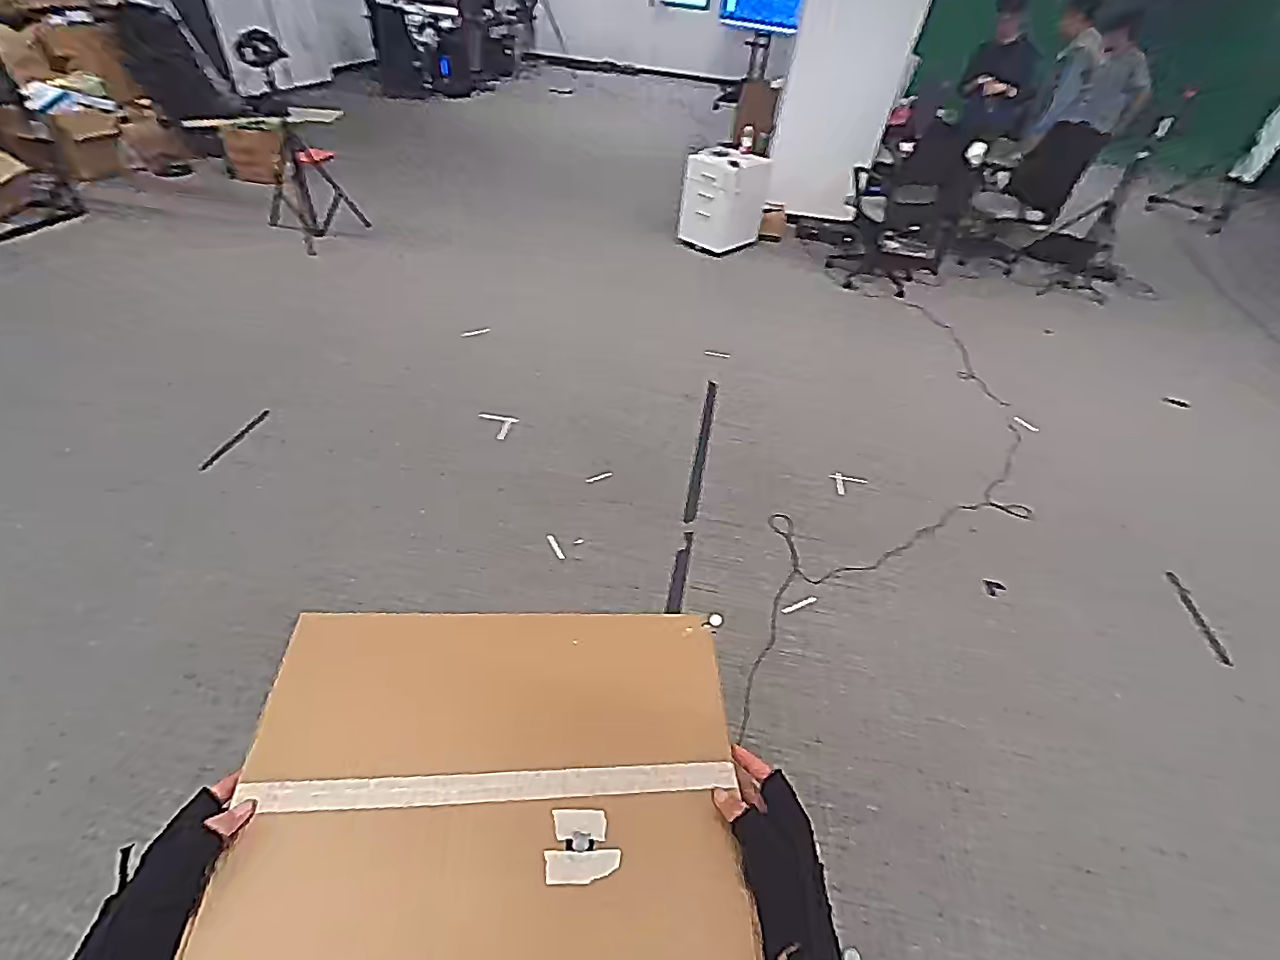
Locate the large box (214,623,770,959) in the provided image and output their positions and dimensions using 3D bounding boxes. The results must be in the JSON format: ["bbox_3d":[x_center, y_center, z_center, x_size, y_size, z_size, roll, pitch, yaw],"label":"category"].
[{"bbox_3d":[-0.127,0.362,0.574,0.408,0.320,0.320,3,50,-8],"label":"large box"}]
